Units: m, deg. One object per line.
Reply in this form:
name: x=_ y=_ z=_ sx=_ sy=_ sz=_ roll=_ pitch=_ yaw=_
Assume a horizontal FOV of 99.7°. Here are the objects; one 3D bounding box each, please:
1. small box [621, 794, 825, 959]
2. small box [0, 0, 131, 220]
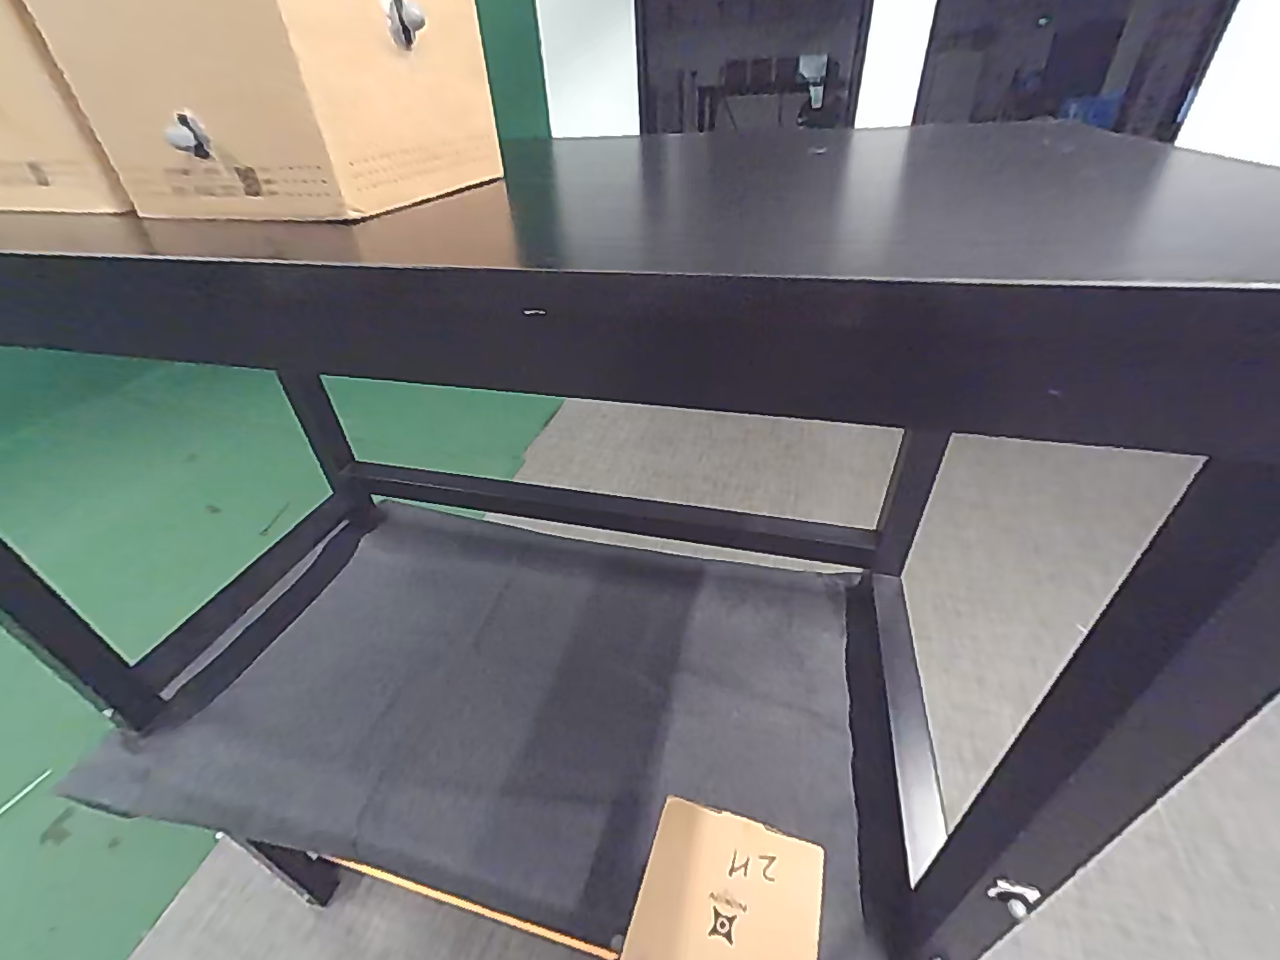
small box: x=0.084 y=0.469 z=0.547 sx=0.168 sy=0.176 sz=0.179 roll=10 pitch=36 yaw=17
small box: x=-0.585 y=-0.317 z=0.444 sx=0.168 sy=0.176 sz=0.179 roll=8 pitch=39 yaw=15
